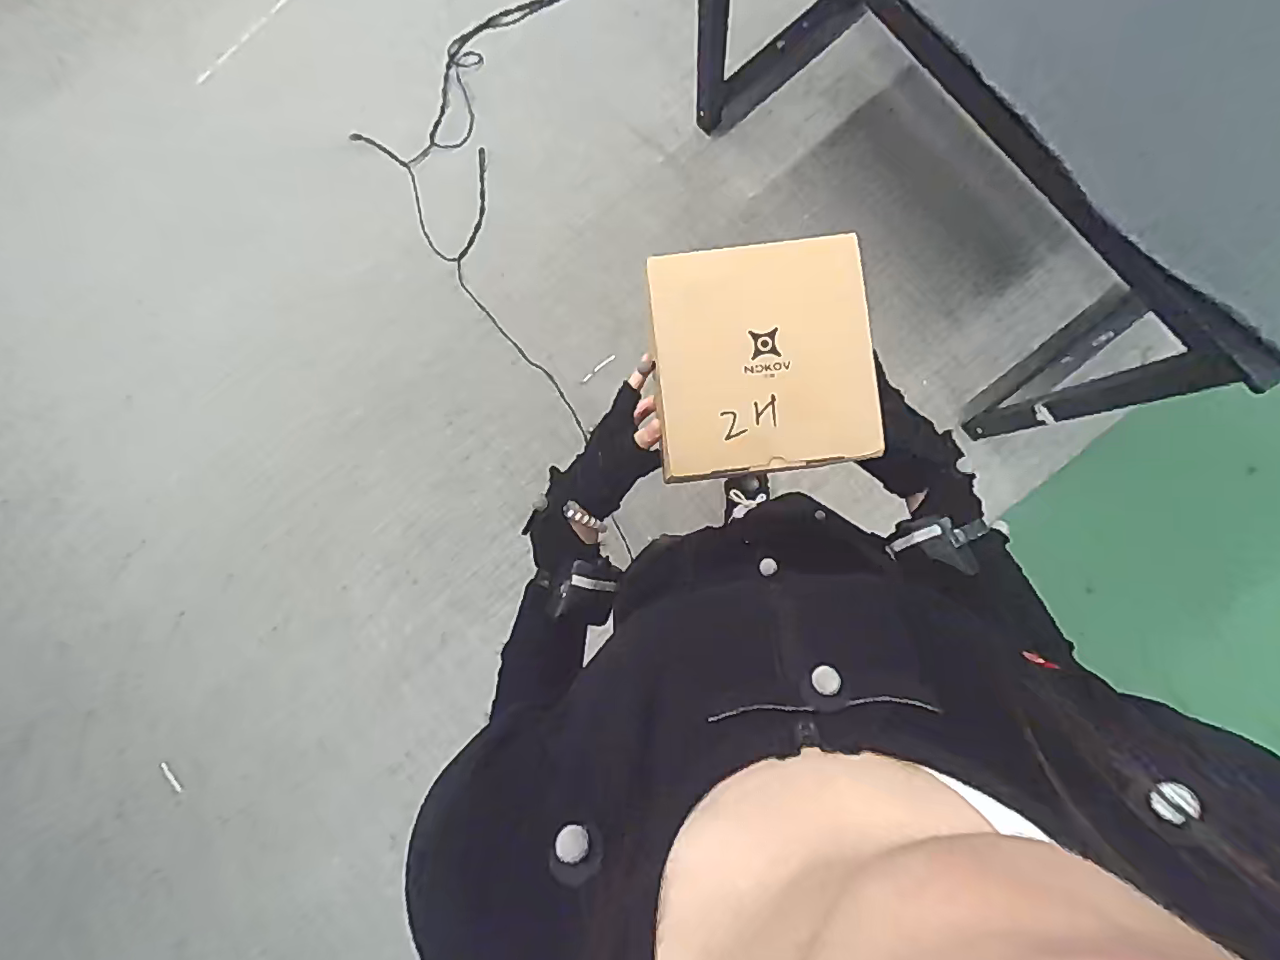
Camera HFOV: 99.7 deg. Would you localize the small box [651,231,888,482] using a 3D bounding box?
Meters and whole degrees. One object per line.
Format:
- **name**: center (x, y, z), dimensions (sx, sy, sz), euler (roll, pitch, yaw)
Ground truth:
- **small box**: center (0.100, -0.095, 0.493), dimensions (0.168, 0.176, 0.179), euler (-7, 88, 1)
